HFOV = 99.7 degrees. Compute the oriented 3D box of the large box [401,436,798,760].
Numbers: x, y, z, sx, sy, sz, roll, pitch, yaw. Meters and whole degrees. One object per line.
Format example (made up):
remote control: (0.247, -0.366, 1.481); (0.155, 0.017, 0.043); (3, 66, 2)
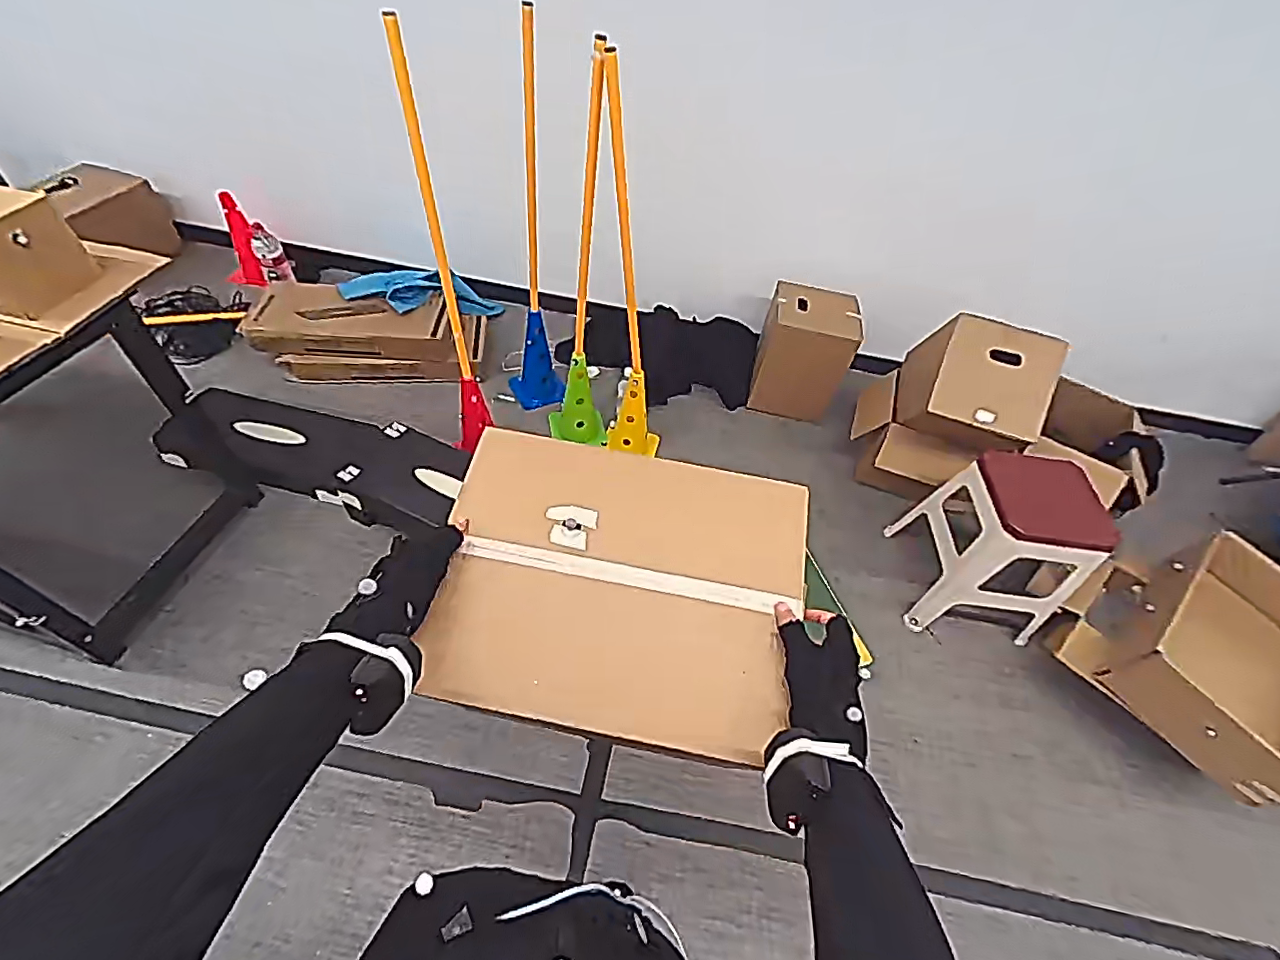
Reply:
large box: (-0.028, 0.176, 0.740); (0.408, 0.320, 0.320); (11, 62, 3)
